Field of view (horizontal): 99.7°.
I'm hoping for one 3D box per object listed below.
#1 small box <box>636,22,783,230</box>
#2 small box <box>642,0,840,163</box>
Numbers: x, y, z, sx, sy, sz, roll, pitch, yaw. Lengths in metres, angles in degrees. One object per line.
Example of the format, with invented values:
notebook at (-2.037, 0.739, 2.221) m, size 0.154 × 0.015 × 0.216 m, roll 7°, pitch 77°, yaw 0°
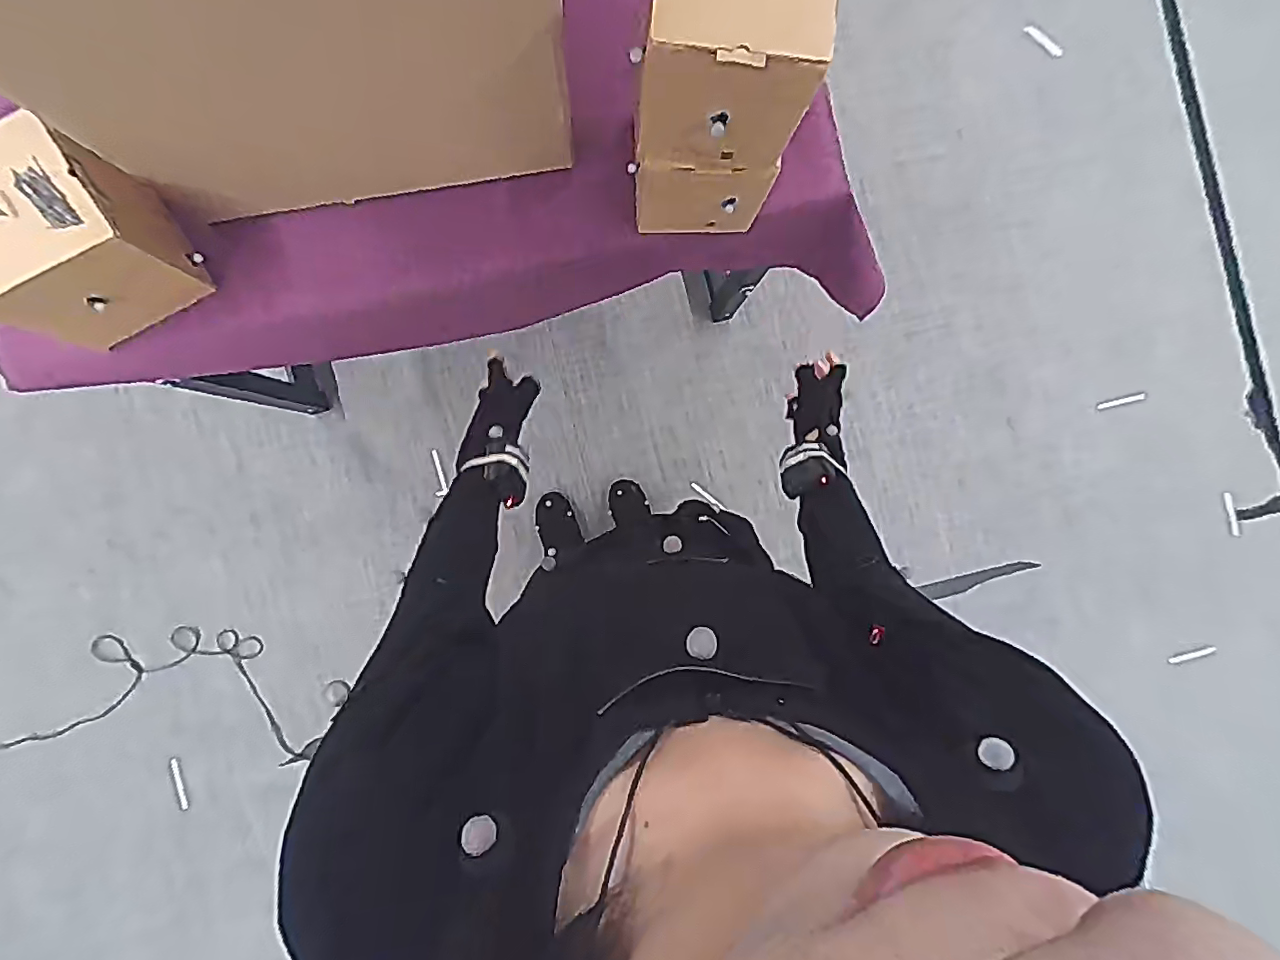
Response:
small box at (0.083, -0.452, 0.718) m, size 0.168 × 0.176 × 0.179 m, roll -2°, pitch 89°, yaw -4°
small box at (0.095, -0.461, 0.553) m, size 0.168 × 0.176 × 0.179 m, roll 6°, pitch 90°, yaw -5°
